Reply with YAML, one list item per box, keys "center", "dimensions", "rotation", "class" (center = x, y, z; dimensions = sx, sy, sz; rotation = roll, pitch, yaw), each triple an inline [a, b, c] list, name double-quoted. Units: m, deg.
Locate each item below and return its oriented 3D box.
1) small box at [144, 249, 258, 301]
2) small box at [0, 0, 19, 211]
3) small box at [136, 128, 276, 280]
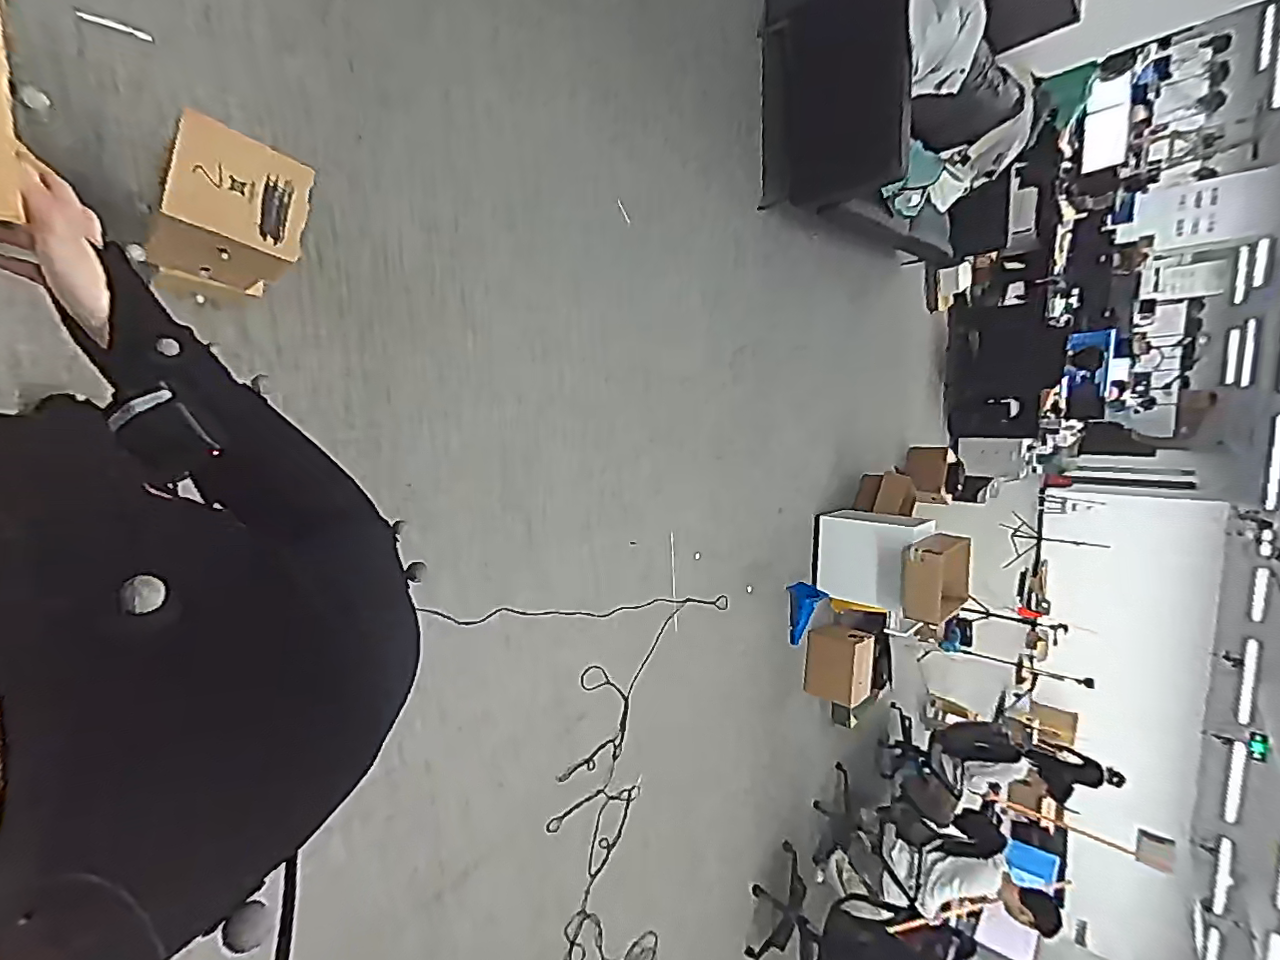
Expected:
- center: [-0.902, -0.487, 1.114]
  dimensions: [0.168, 0.176, 0.179]
  rotation: [3, 92, -47]
  class: "small box"
- center: [-0.471, -0.262, 0.290]
  dimensions: [0.168, 0.176, 0.179]
  rotation: [-7, 112, -50]
  class: "small box"
- center: [-0.796, -0.486, 0.989]
  dimensions: [0.168, 0.176, 0.179]
  rotation: [10, 88, -47]
  class: "small box"
